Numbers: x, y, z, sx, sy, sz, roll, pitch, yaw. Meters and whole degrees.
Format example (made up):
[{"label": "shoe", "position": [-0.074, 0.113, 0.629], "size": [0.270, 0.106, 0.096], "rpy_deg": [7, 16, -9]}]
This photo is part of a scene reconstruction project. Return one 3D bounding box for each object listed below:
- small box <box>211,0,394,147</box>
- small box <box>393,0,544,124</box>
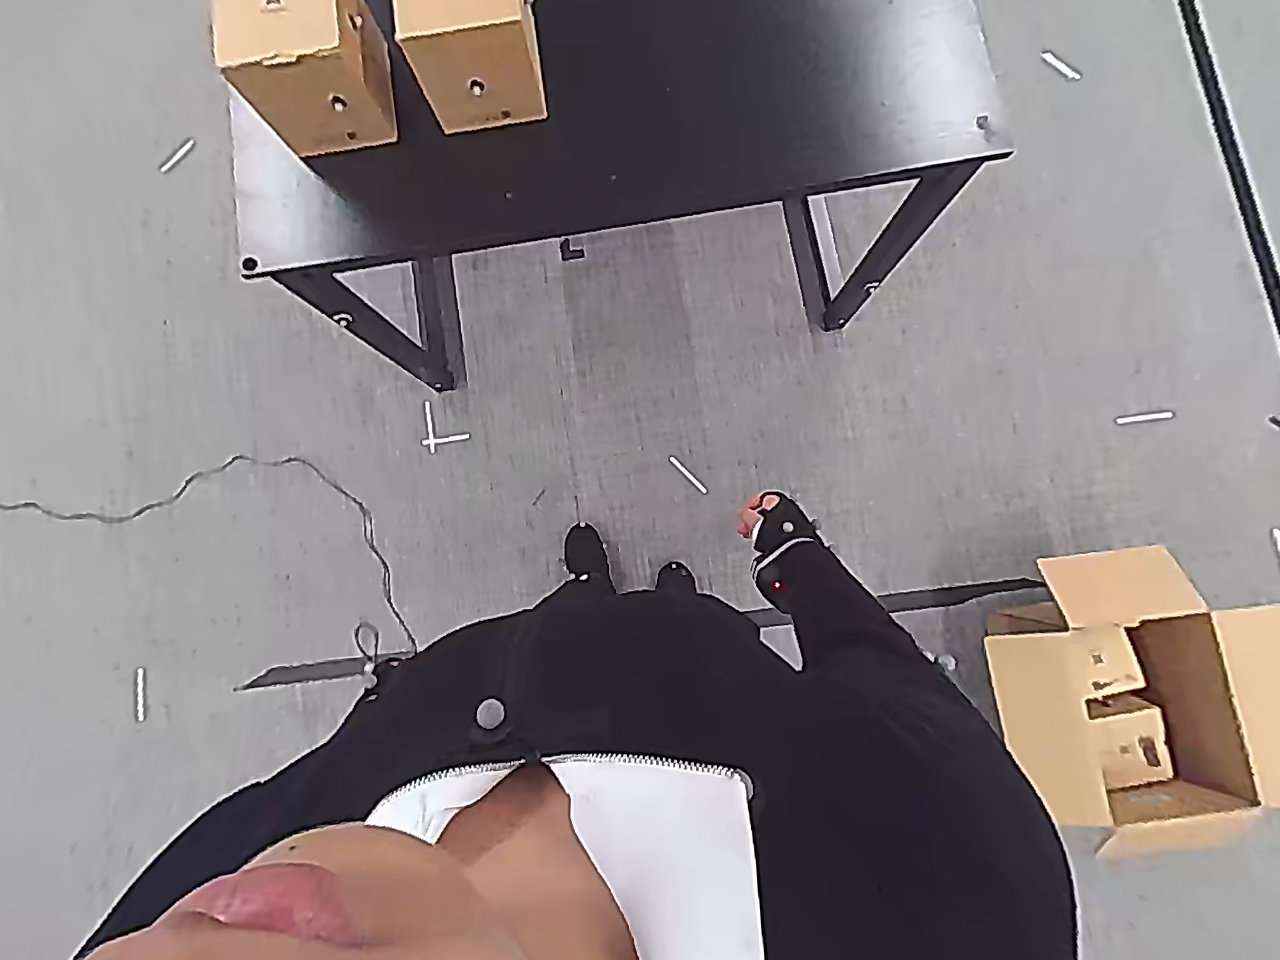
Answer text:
[{"label": "small box", "position": [-0.479, -0.621, 0.790], "size": [0.168, 0.176, 0.179], "rpy_deg": [-9, 82, -1]}, {"label": "small box", "position": [-0.242, -0.654, 0.785], "size": [0.168, 0.176, 0.179], "rpy_deg": [-8, 83, 0]}]
